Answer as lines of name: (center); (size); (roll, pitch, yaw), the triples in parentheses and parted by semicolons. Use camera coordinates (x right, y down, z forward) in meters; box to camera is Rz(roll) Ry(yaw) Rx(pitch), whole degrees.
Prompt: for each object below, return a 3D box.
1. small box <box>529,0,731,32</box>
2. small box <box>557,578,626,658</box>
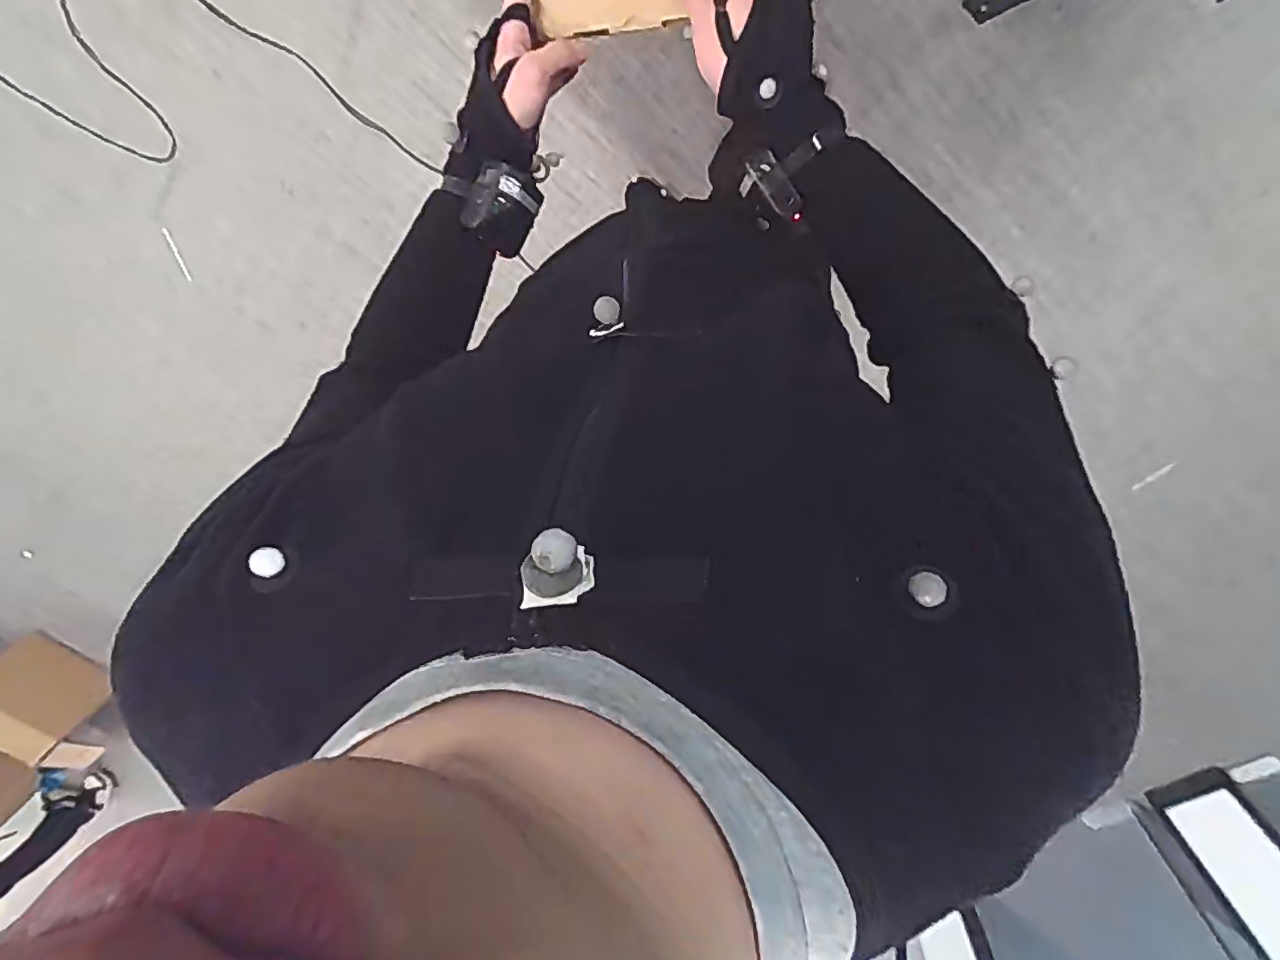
small box: (-0.002, -0.480, 0.423); (0.168, 0.176, 0.179); (1, 132, 12)
small box: (-0.162, 0.478, 1.888); (0.168, 0.176, 0.179); (36, 117, -15)
